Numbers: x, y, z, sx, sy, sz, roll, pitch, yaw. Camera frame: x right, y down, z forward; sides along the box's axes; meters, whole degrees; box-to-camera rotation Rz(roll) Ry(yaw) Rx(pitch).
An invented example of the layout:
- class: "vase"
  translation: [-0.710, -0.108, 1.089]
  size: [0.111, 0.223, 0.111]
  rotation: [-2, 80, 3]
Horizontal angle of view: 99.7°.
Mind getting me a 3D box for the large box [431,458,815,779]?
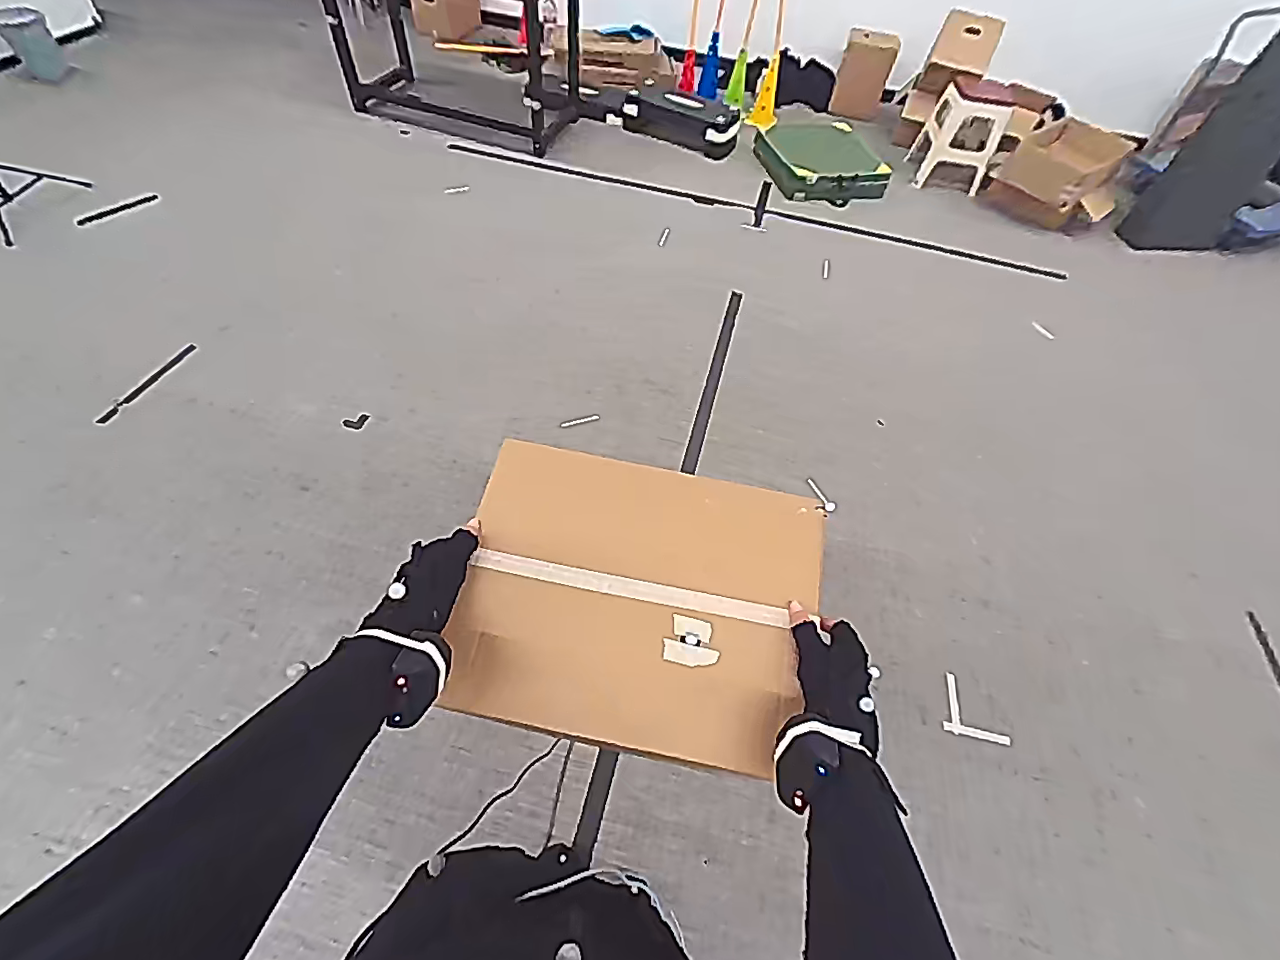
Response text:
- class: "large box"
  translation: [-0.009, 0.205, 0.754]
  size: [0.408, 0.320, 0.320]
  rotation: [11, 63, 2]
